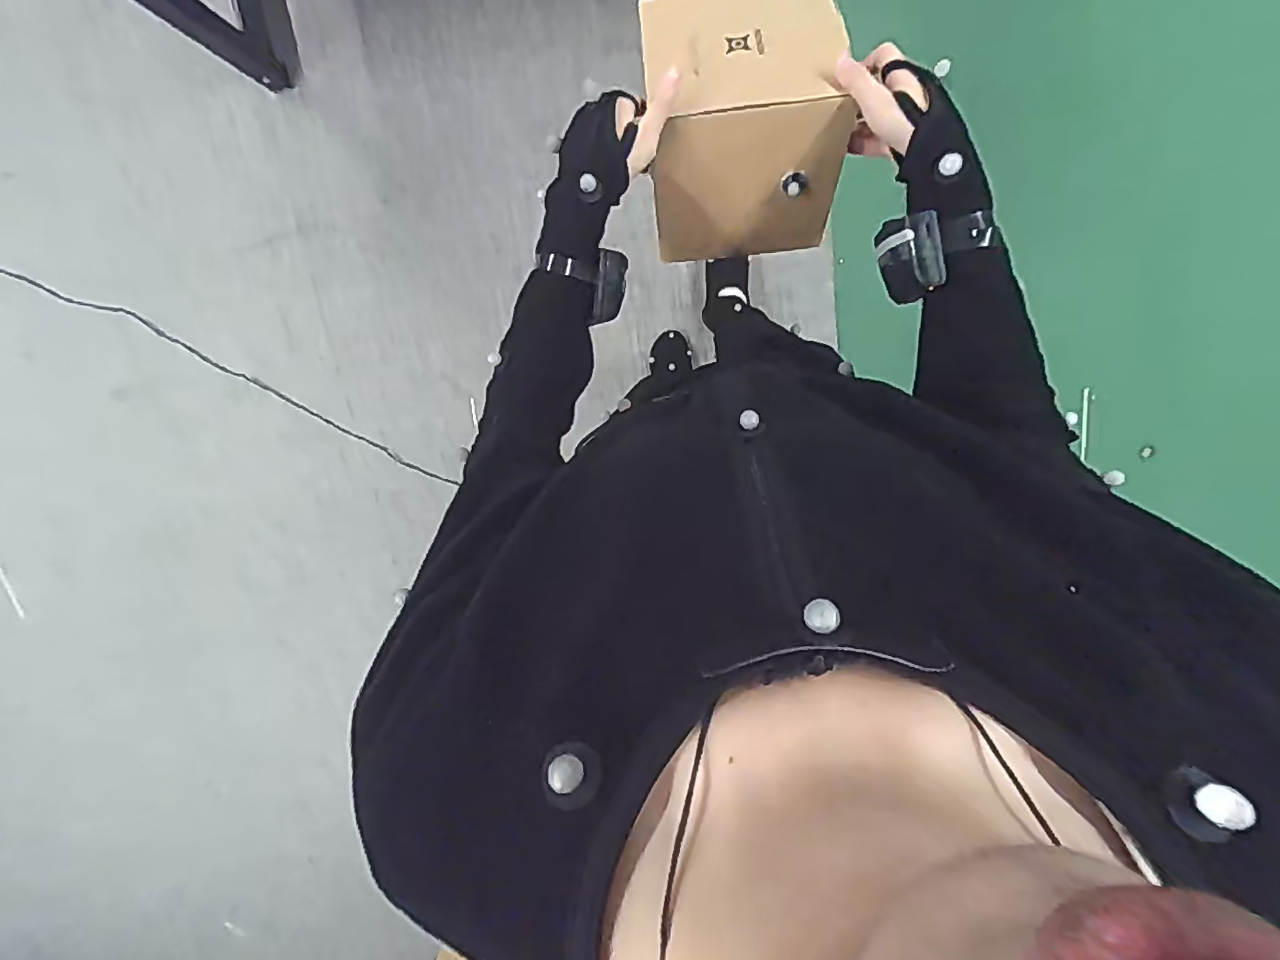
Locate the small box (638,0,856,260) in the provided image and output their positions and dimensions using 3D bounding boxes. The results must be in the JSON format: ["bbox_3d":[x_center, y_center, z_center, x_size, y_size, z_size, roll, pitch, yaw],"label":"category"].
[{"bbox_3d":[0.095,-0.348,0.541,0.179,0.176,0.168,-4,69,6],"label":"small box"}]
